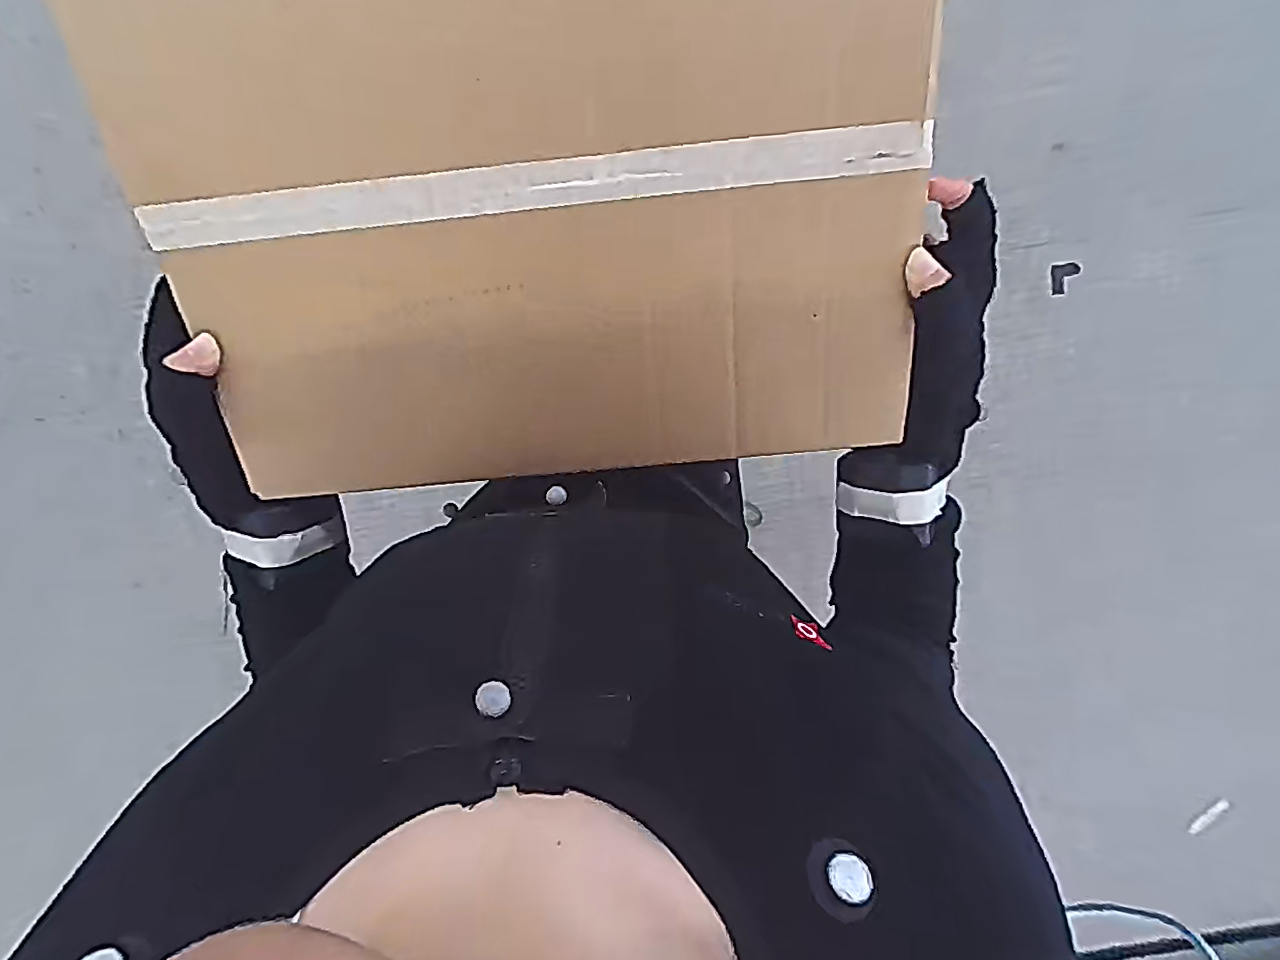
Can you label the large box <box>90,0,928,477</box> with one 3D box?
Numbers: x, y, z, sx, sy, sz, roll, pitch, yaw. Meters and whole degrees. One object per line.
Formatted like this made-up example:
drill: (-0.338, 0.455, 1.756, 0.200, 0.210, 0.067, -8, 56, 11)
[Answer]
large box: (-0.058, -0.218, 0.422, 0.408, 0.320, 0.320, -5, 113, 1)
